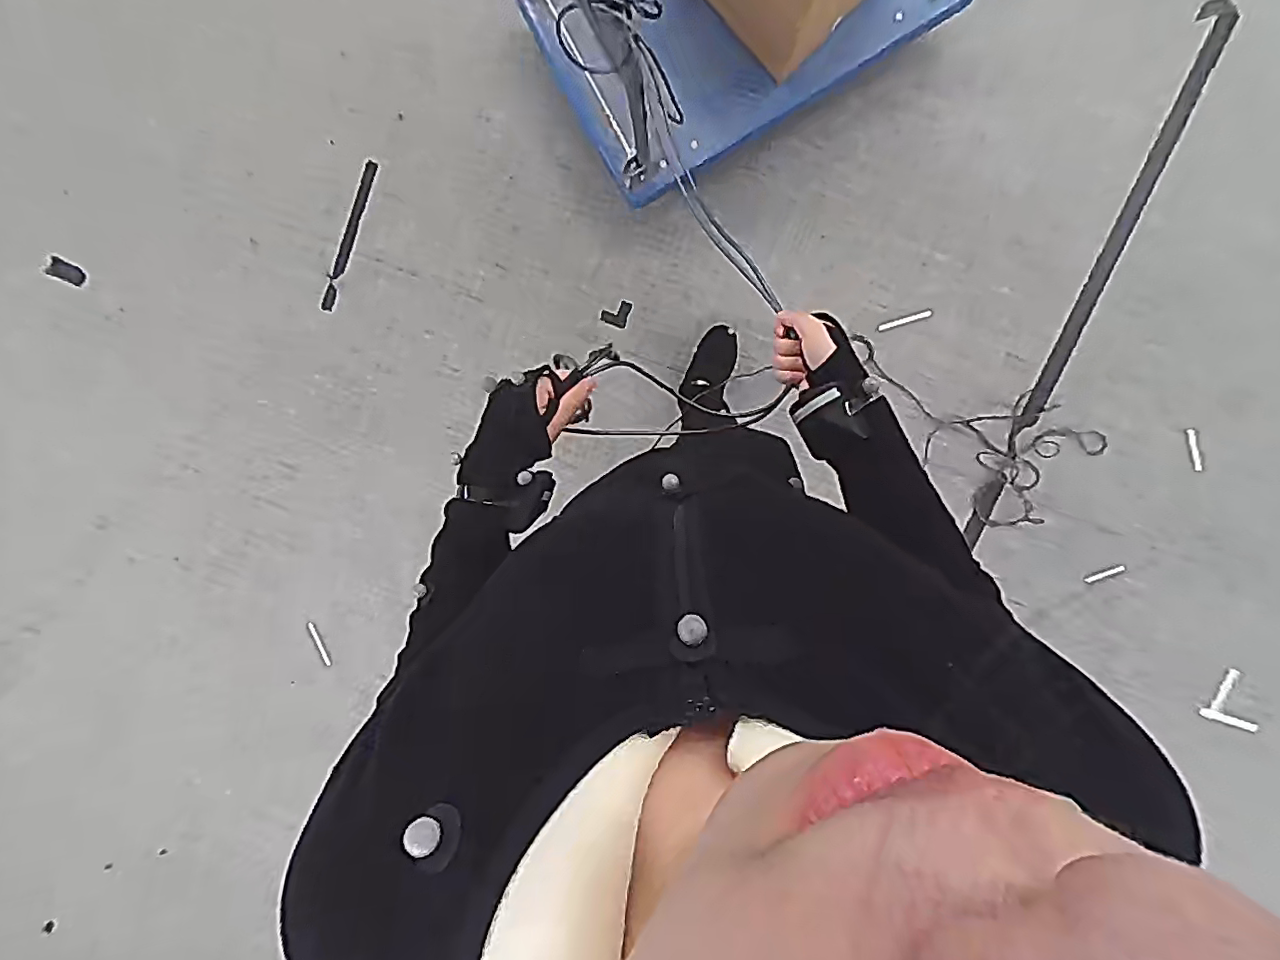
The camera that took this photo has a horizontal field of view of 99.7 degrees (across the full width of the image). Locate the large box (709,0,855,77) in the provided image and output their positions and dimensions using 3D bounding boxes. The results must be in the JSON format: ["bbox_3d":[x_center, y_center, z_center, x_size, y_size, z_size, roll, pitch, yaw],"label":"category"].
[{"bbox_3d":[0.267,-1.087,0.989,0.320,0.320,0.408,-44,96,8],"label":"large box"}]
